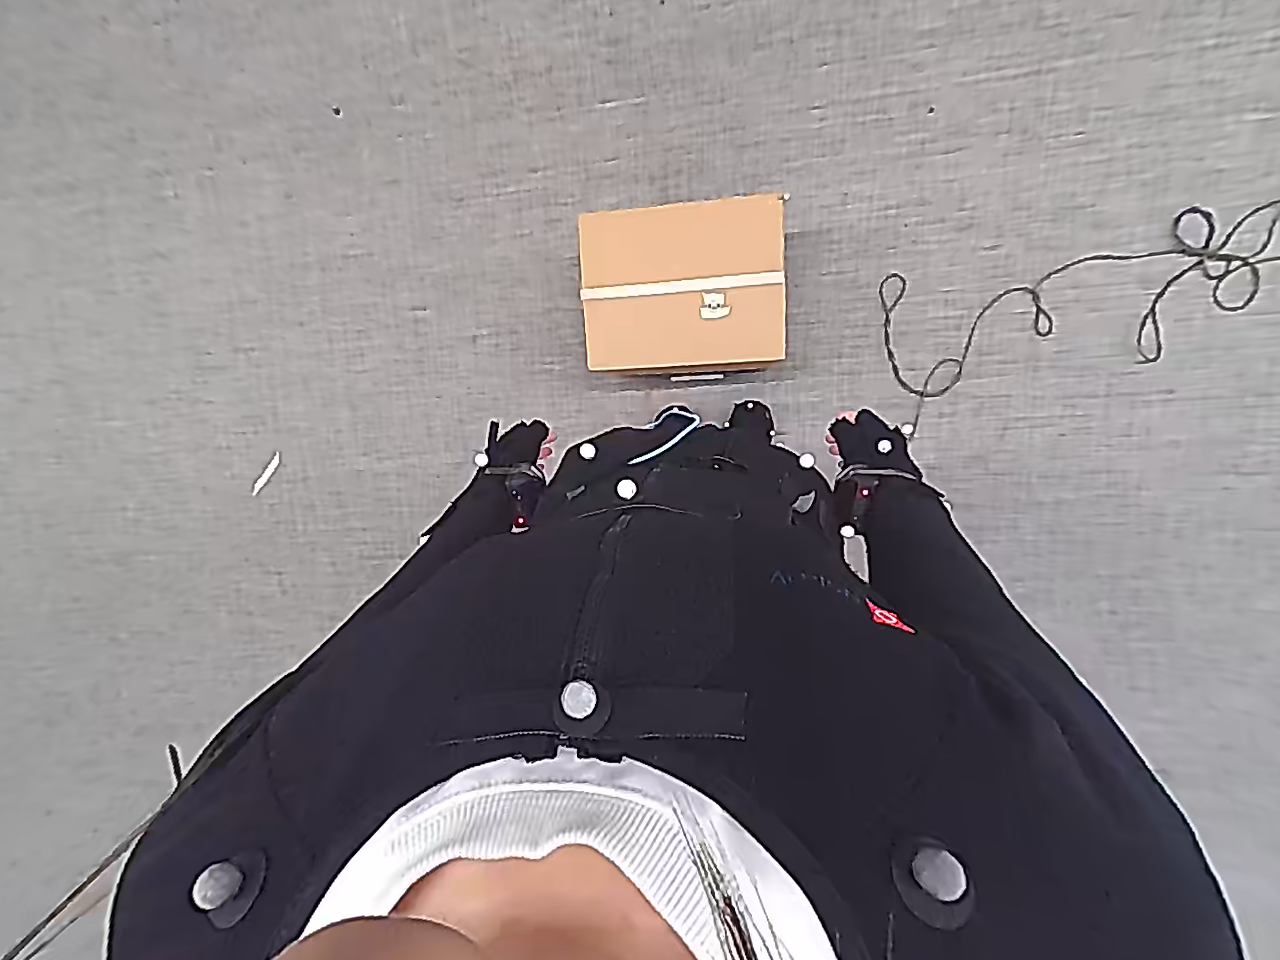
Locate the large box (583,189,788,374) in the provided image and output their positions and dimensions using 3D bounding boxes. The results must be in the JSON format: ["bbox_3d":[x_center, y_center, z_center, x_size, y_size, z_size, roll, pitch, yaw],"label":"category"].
[{"bbox_3d":[0.108,-0.418,1.227,0.408,0.320,0.320,-2,99,9],"label":"large box"}]
